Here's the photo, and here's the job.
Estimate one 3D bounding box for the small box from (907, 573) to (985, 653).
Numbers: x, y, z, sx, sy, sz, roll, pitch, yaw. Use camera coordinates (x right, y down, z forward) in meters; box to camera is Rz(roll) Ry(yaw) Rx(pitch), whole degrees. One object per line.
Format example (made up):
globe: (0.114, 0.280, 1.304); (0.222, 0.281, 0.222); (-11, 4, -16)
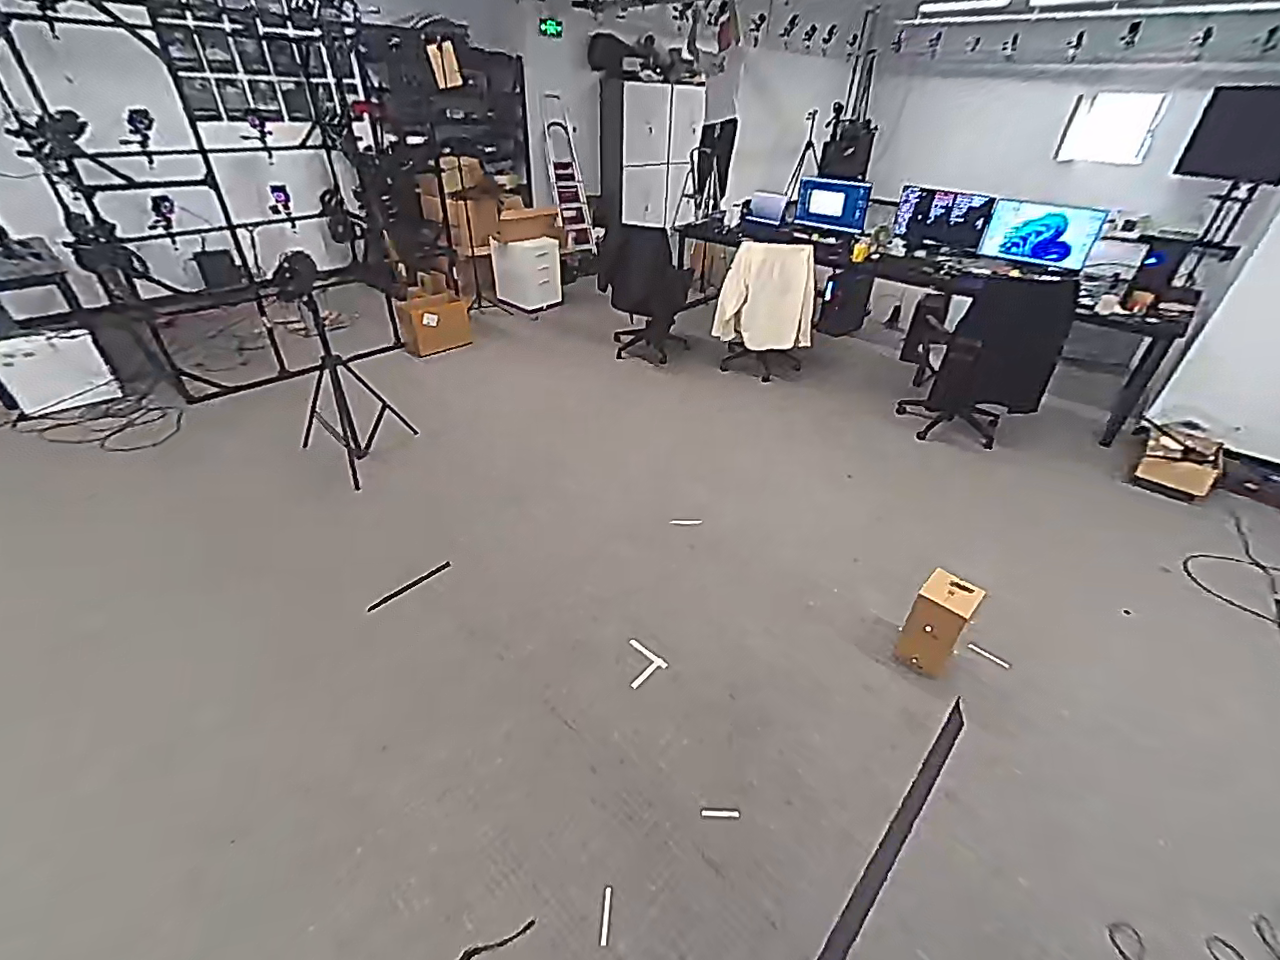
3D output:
small box: (1.062, 0.463, 1.885); (0.179, 0.176, 0.168); (-29, 44, -36)
